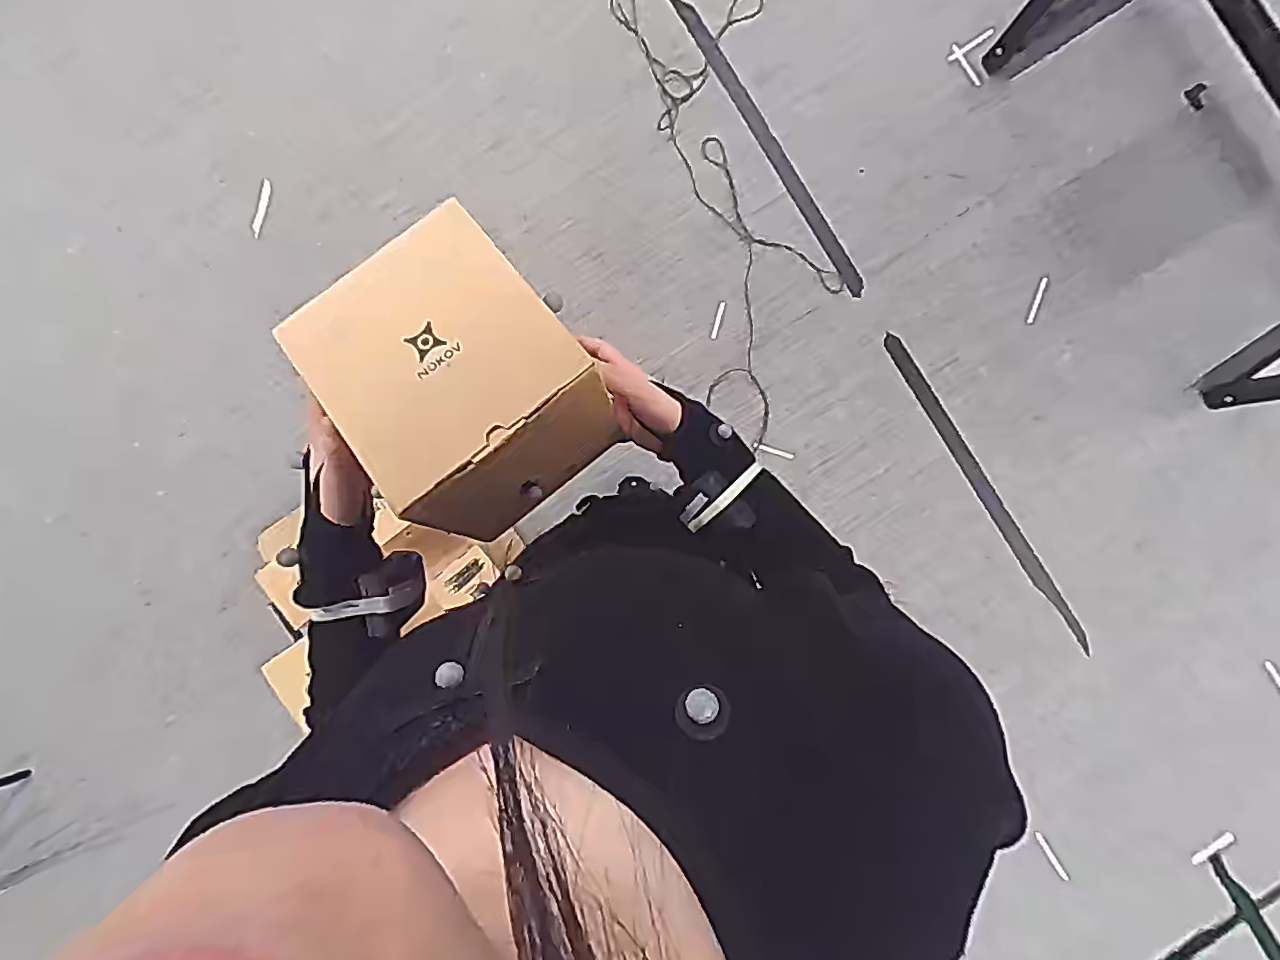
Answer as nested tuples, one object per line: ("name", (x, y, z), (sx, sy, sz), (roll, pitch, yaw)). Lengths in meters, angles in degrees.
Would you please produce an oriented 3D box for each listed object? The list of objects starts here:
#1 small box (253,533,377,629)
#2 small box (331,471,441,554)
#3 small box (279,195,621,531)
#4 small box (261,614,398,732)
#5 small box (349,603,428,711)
("small box", (-0.828, 0.249, 1.395), (0.168, 0.176, 0.179), (-39, 90, 0))
("small box", (-0.640, 0.067, 1.399), (0.179, 0.176, 0.168), (-38, 90, -1))
("small box", (-0.134, -0.077, 0.445), (0.168, 0.176, 0.179), (-38, 78, -4))
("small box", (-0.692, 0.422, 1.225), (0.168, 0.176, 0.179), (-35, 90, 0))
("small box", (-0.681, 0.445, 1.390), (0.168, 0.176, 0.179), (-39, 91, -2))
